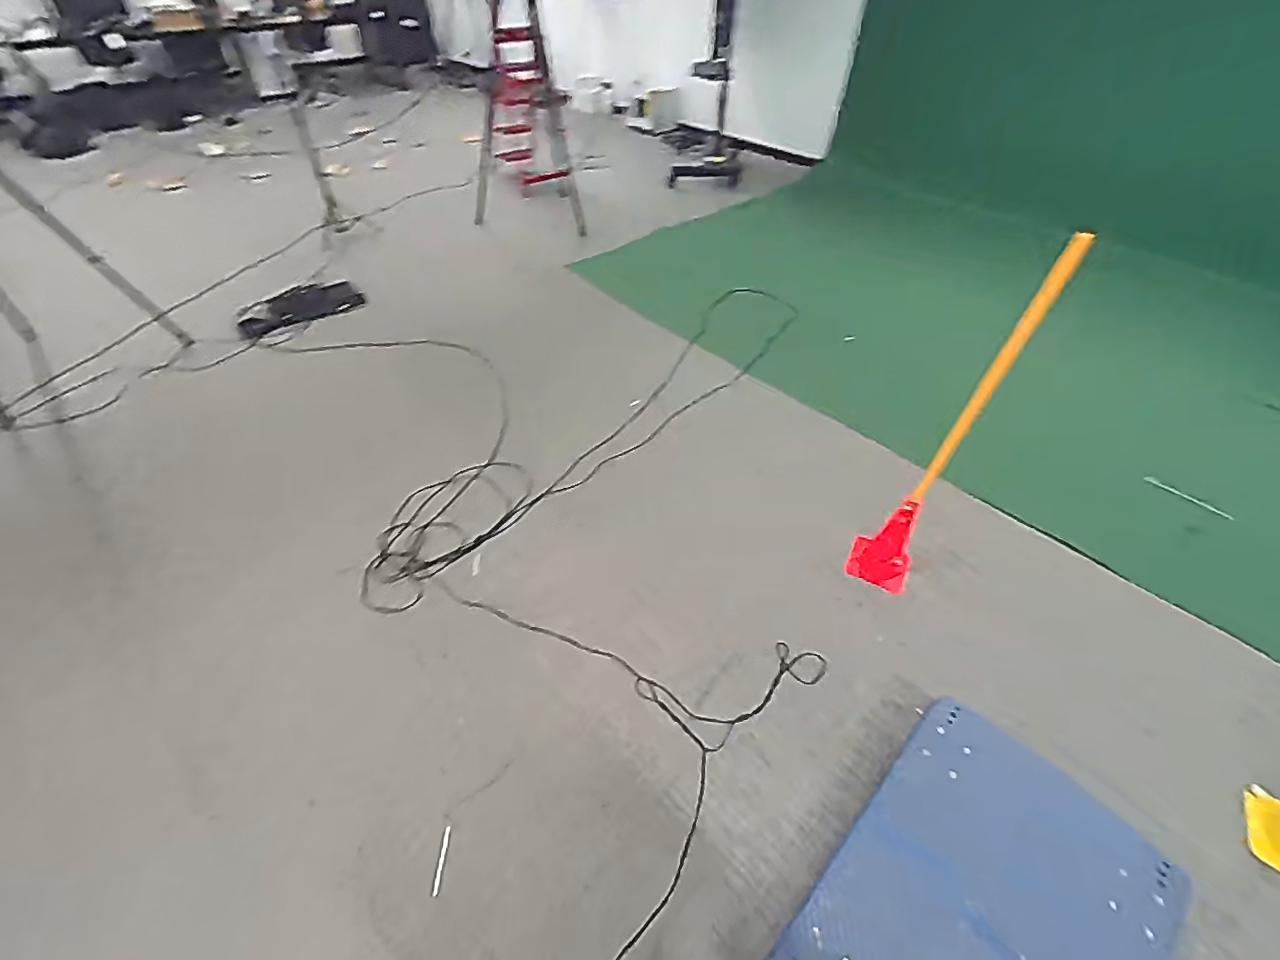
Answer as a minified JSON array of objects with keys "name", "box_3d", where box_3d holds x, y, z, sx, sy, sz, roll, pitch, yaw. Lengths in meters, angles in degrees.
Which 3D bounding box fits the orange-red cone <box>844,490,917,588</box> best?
[{"name":"orange-red cone","box_3d":[0.862,0.170,1.850,0.199,0.360,0.198,23,49,21]}]
